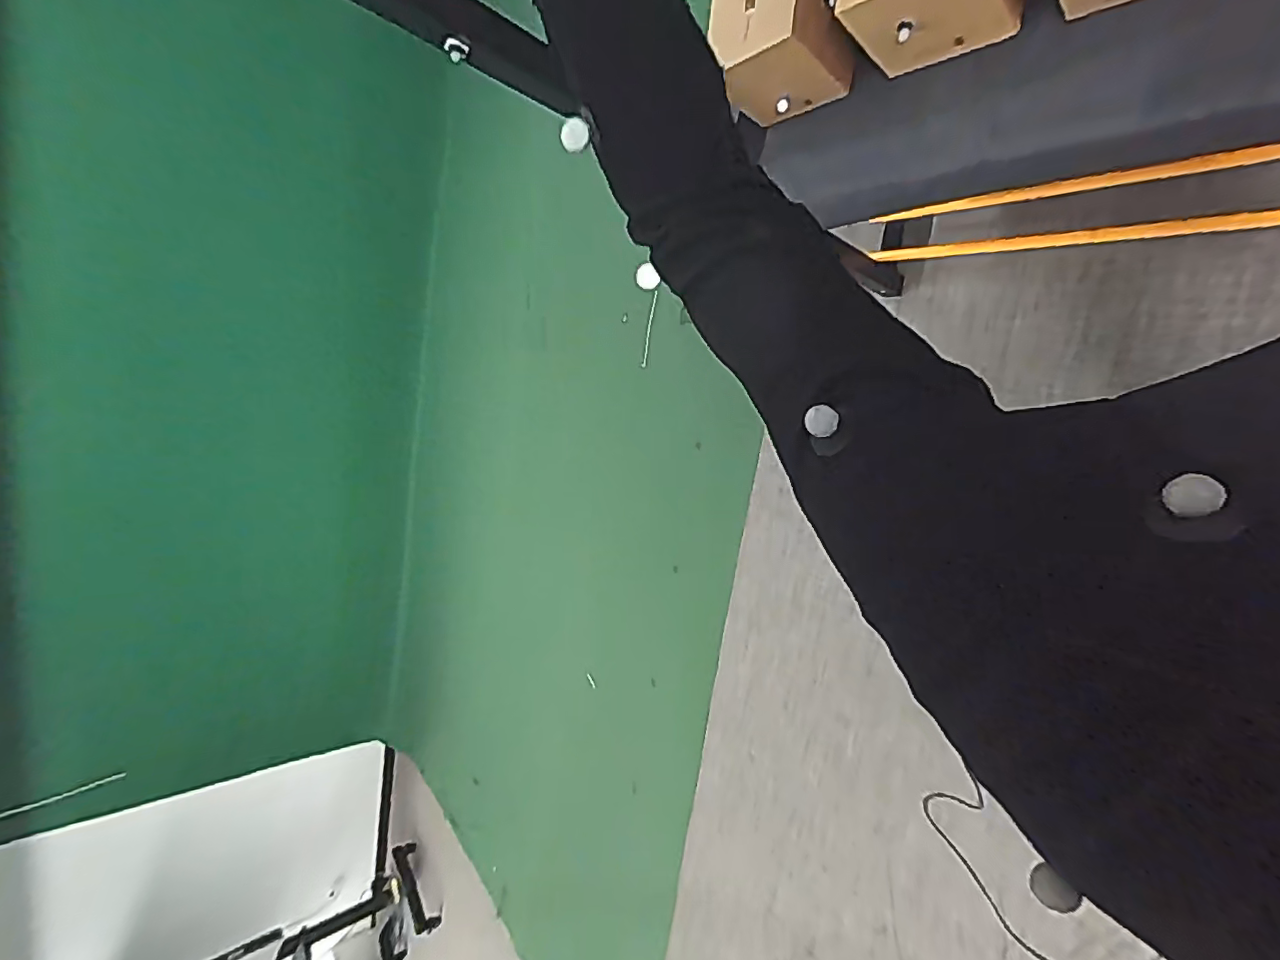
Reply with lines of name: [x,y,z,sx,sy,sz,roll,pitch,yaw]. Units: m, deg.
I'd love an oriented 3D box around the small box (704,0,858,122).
small box: [0.226,-0.704,0.837,0.168,0.176,0.179,14,99,48]

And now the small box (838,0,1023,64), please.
small box: [0.376,-0.664,0.672,0.168,0.176,0.179,17,101,47]
